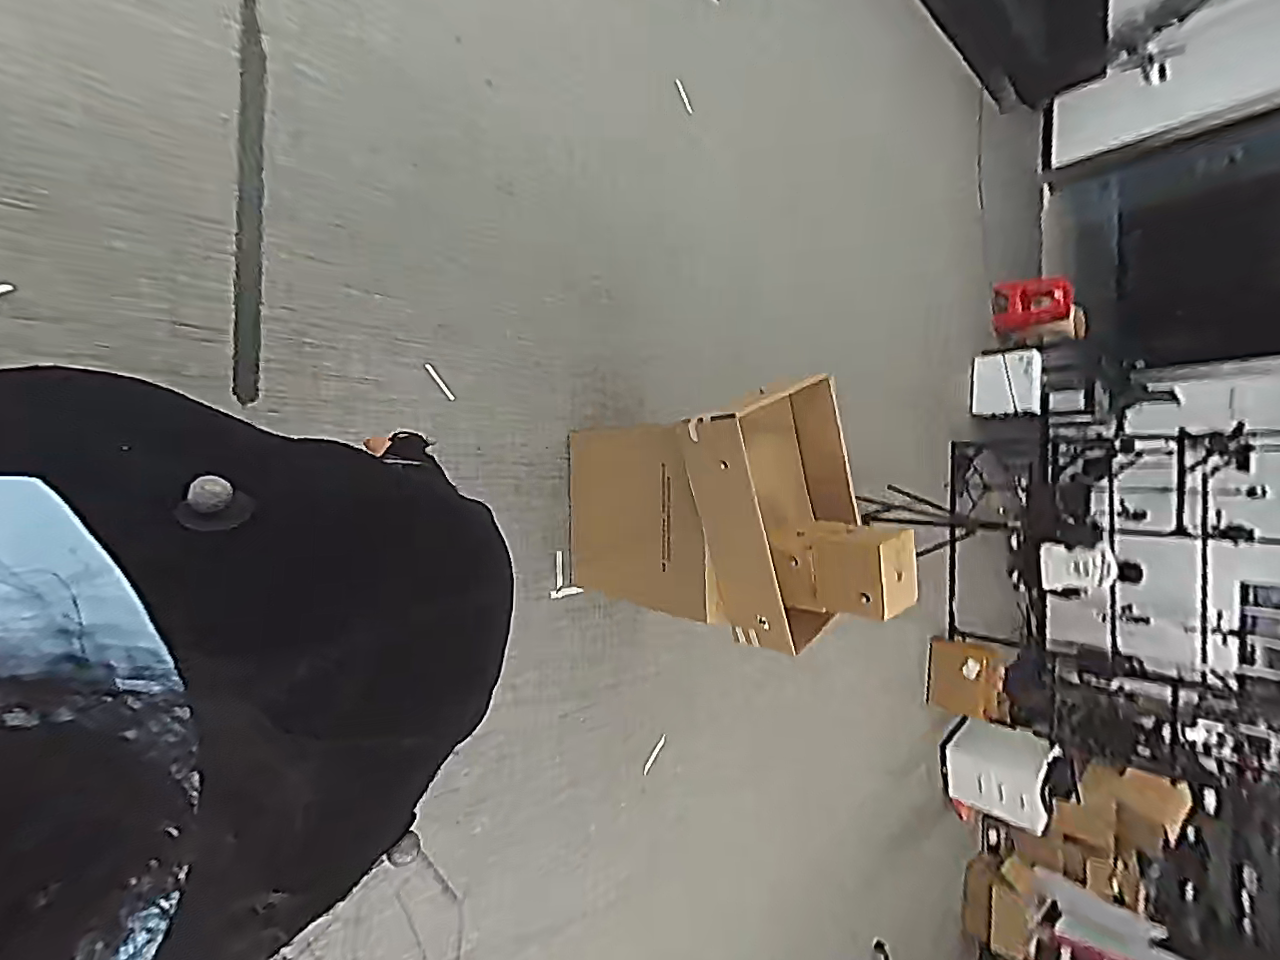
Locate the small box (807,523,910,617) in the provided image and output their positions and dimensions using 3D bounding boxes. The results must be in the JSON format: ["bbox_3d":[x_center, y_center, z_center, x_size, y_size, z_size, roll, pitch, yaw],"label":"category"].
[{"bbox_3d":[0.517,0.204,1.284,0.168,0.176,0.179,-11,96,-40],"label":"small box"}]
